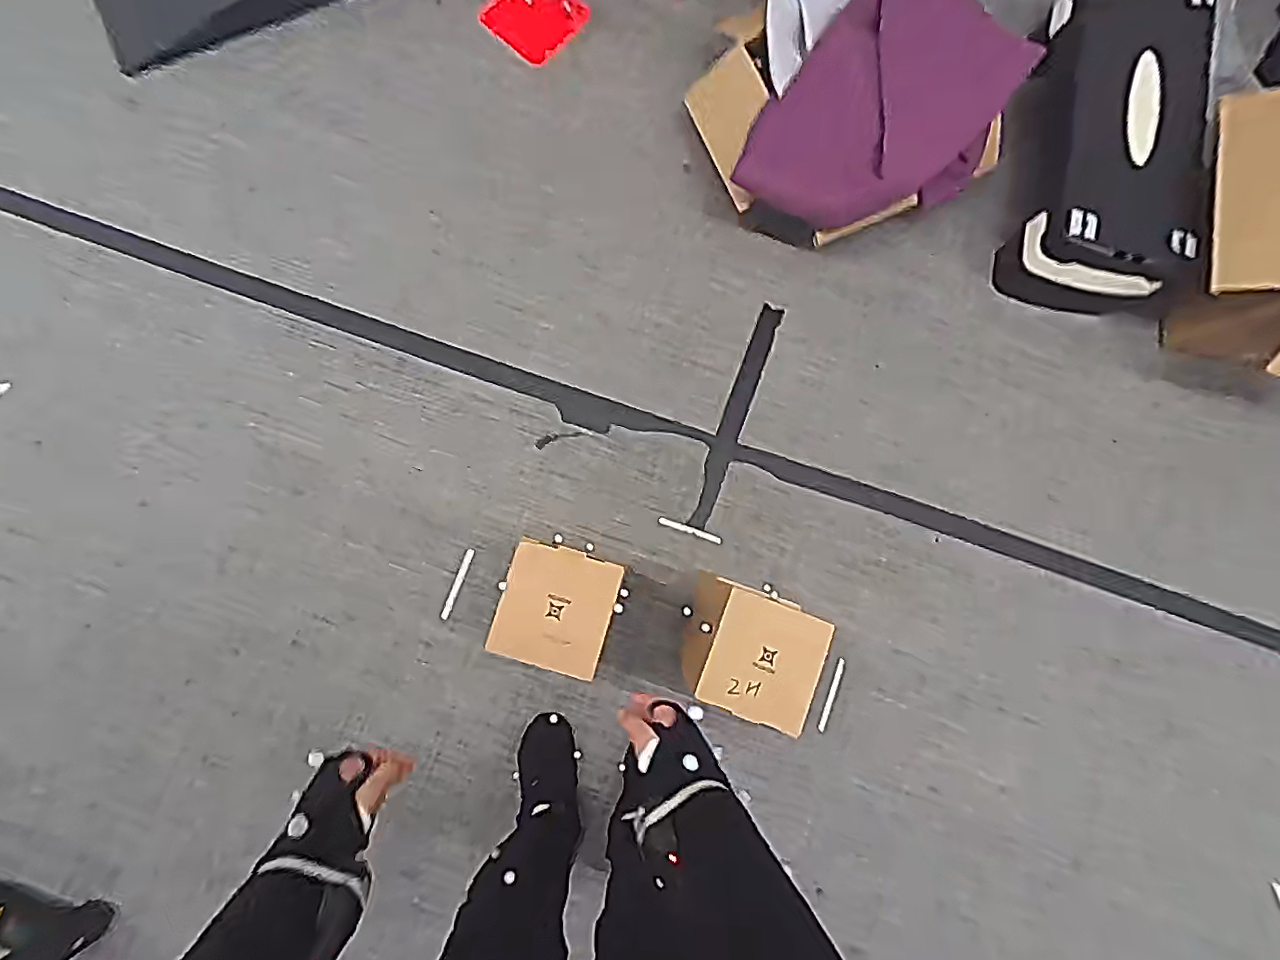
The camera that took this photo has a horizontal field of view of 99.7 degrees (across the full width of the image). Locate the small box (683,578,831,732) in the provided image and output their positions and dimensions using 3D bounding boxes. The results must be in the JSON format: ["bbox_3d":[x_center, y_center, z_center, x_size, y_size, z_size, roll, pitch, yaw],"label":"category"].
[{"bbox_3d":[0.177,0.268,0.876,0.168,0.176,0.179,21,84,1],"label":"small box"}]

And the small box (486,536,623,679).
[{"bbox_3d":[-0.127,0.195,0.876,0.168,0.176,0.179,15,84,2],"label":"small box"}]

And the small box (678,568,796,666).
[{"bbox_3d":[0.177,0.281,1.042,0.168,0.176,0.179,19,84,0],"label":"small box"}]
